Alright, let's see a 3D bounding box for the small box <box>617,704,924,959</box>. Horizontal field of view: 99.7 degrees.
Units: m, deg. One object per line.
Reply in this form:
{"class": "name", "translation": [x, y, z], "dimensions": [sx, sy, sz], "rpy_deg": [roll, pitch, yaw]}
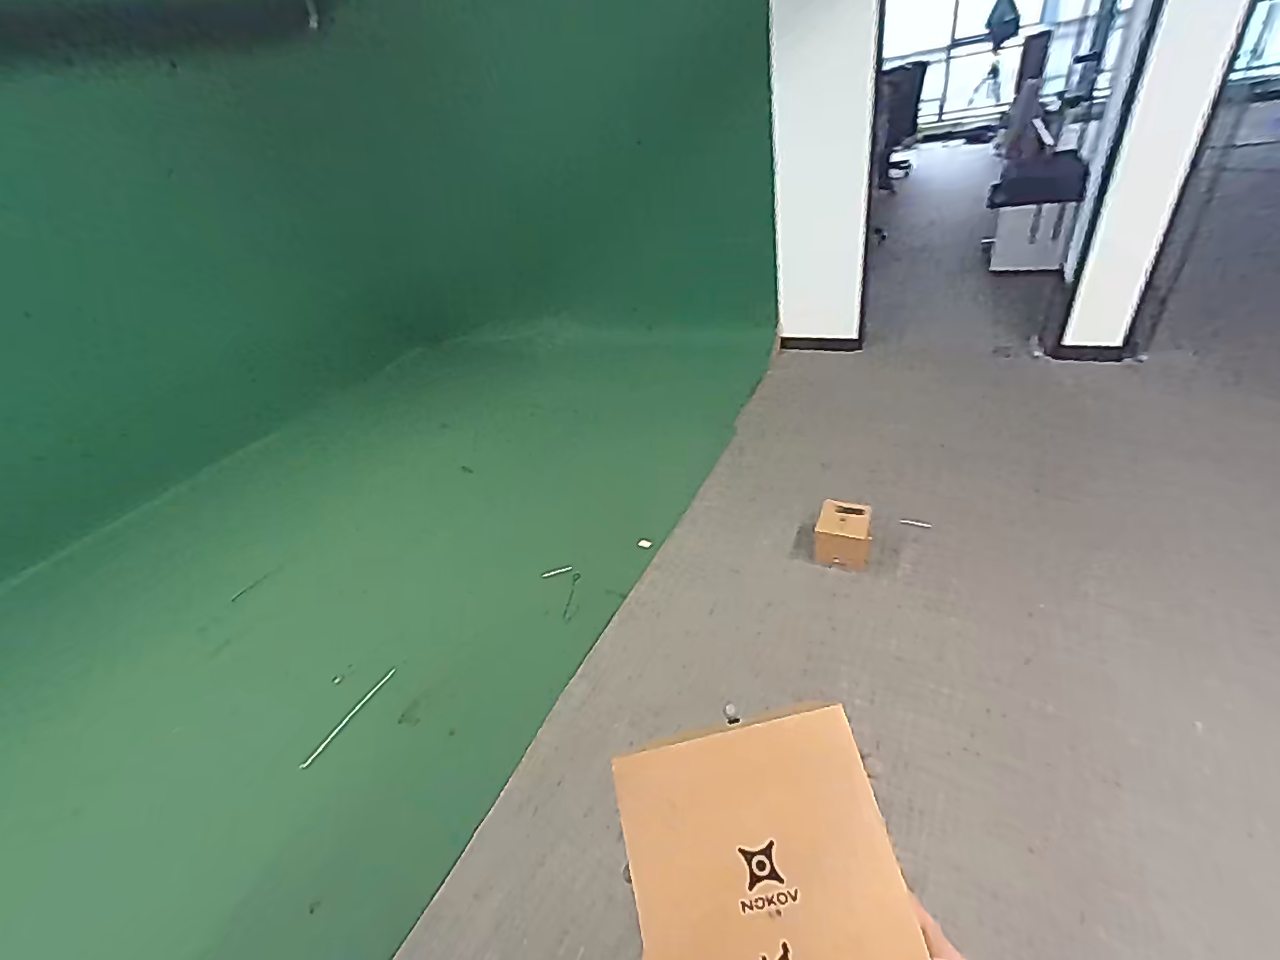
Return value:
{"class": "small box", "translation": [0.091, 0.282, 0.417], "dimensions": [0.168, 0.176, 0.179], "rpy_deg": [-16, 67, 5]}
